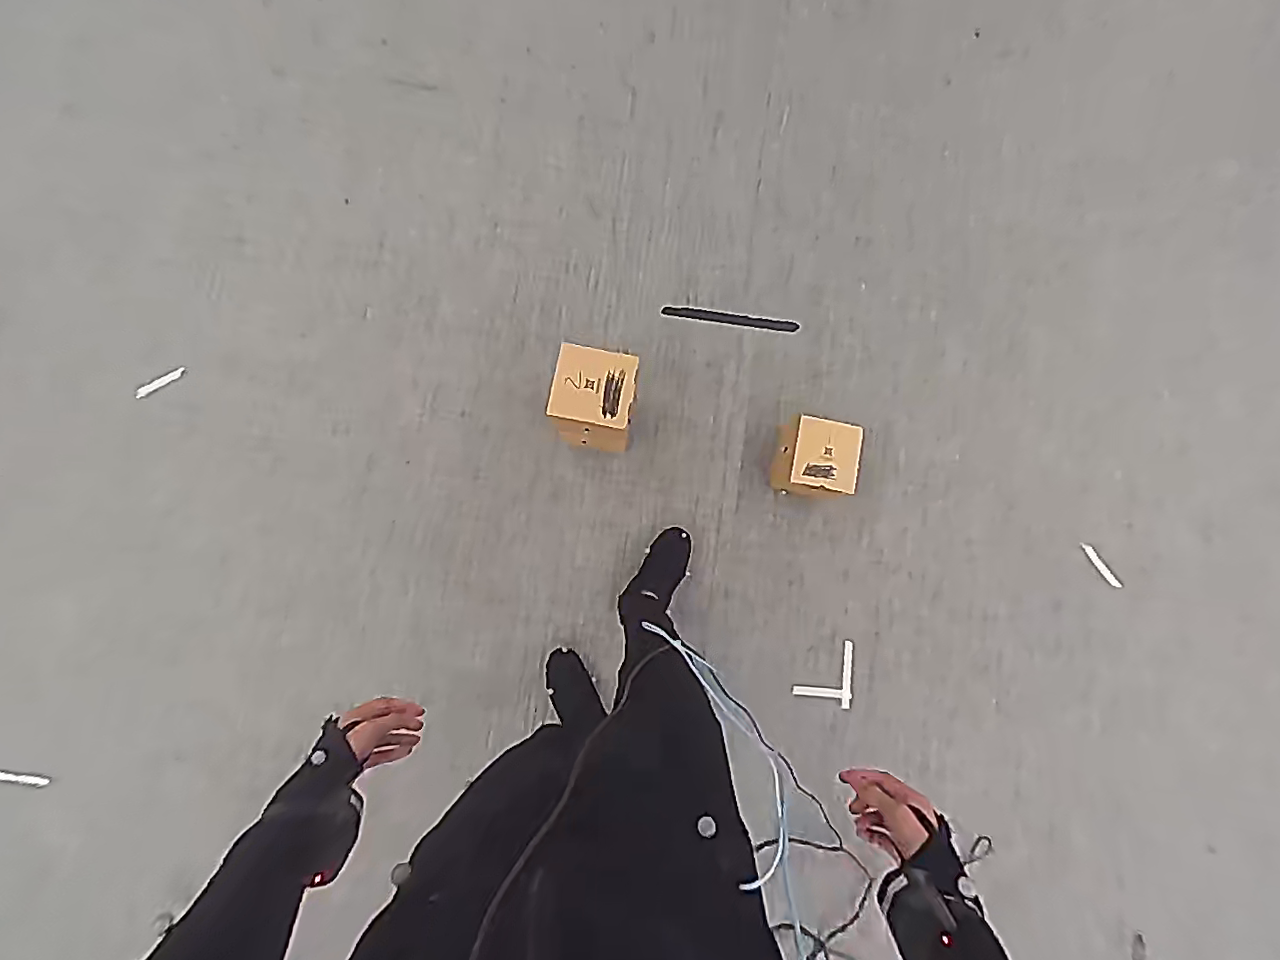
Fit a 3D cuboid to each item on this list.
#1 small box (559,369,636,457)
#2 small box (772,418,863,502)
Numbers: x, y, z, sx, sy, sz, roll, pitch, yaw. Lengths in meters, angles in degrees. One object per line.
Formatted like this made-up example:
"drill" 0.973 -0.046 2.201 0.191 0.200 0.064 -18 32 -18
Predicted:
"small box" -0.105 -0.166 1.400 0.168 0.176 0.179 10 82 -1
"small box" 0.455 -0.044 1.412 0.168 0.176 0.179 12 82 -2
